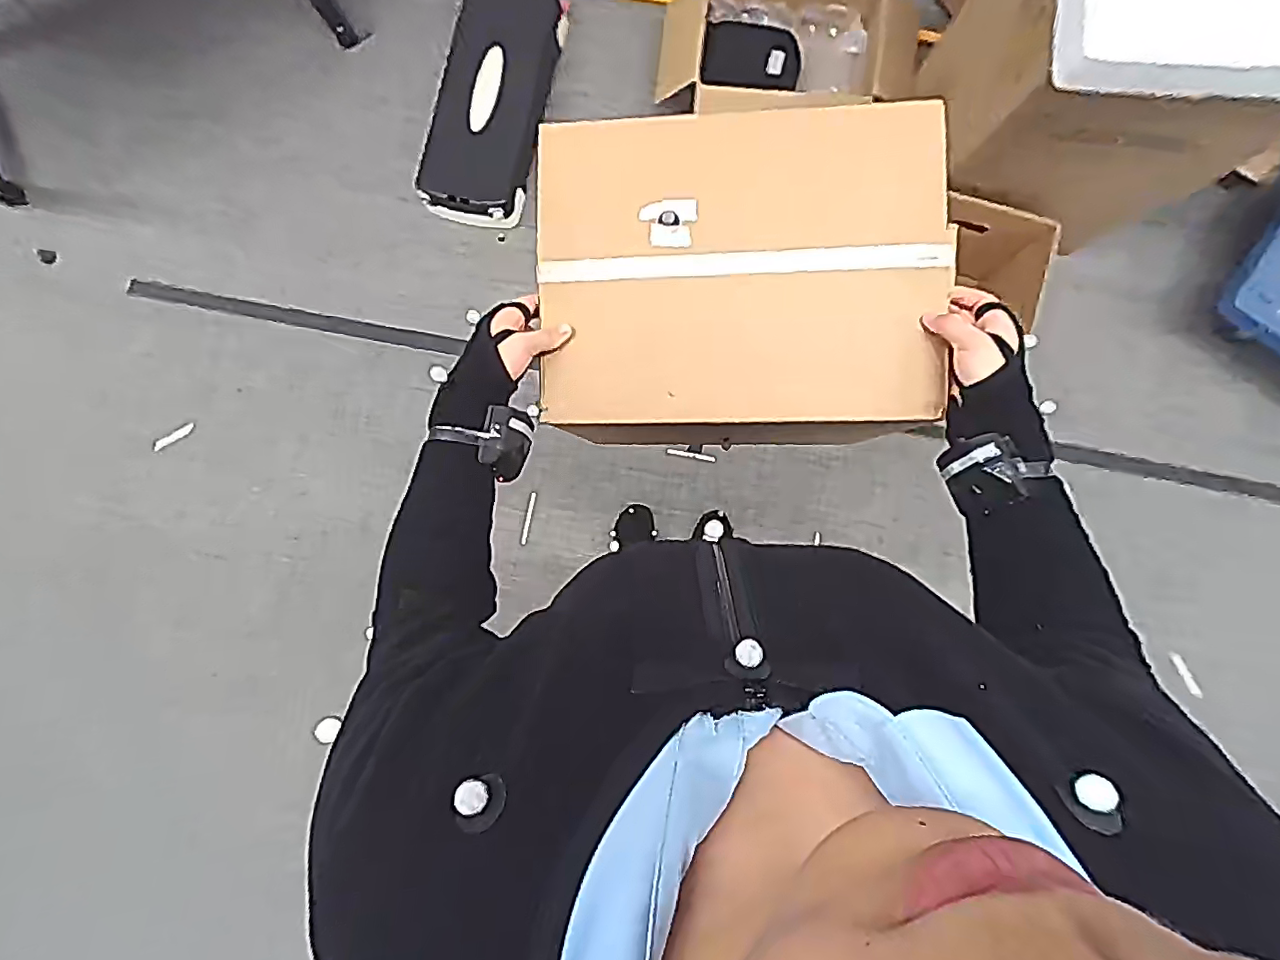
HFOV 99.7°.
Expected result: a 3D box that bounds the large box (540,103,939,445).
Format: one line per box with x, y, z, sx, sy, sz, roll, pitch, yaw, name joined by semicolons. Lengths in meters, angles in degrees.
0.112;-0.213;0.702;0.408;0.320;0.320;-1;88;7;large box
